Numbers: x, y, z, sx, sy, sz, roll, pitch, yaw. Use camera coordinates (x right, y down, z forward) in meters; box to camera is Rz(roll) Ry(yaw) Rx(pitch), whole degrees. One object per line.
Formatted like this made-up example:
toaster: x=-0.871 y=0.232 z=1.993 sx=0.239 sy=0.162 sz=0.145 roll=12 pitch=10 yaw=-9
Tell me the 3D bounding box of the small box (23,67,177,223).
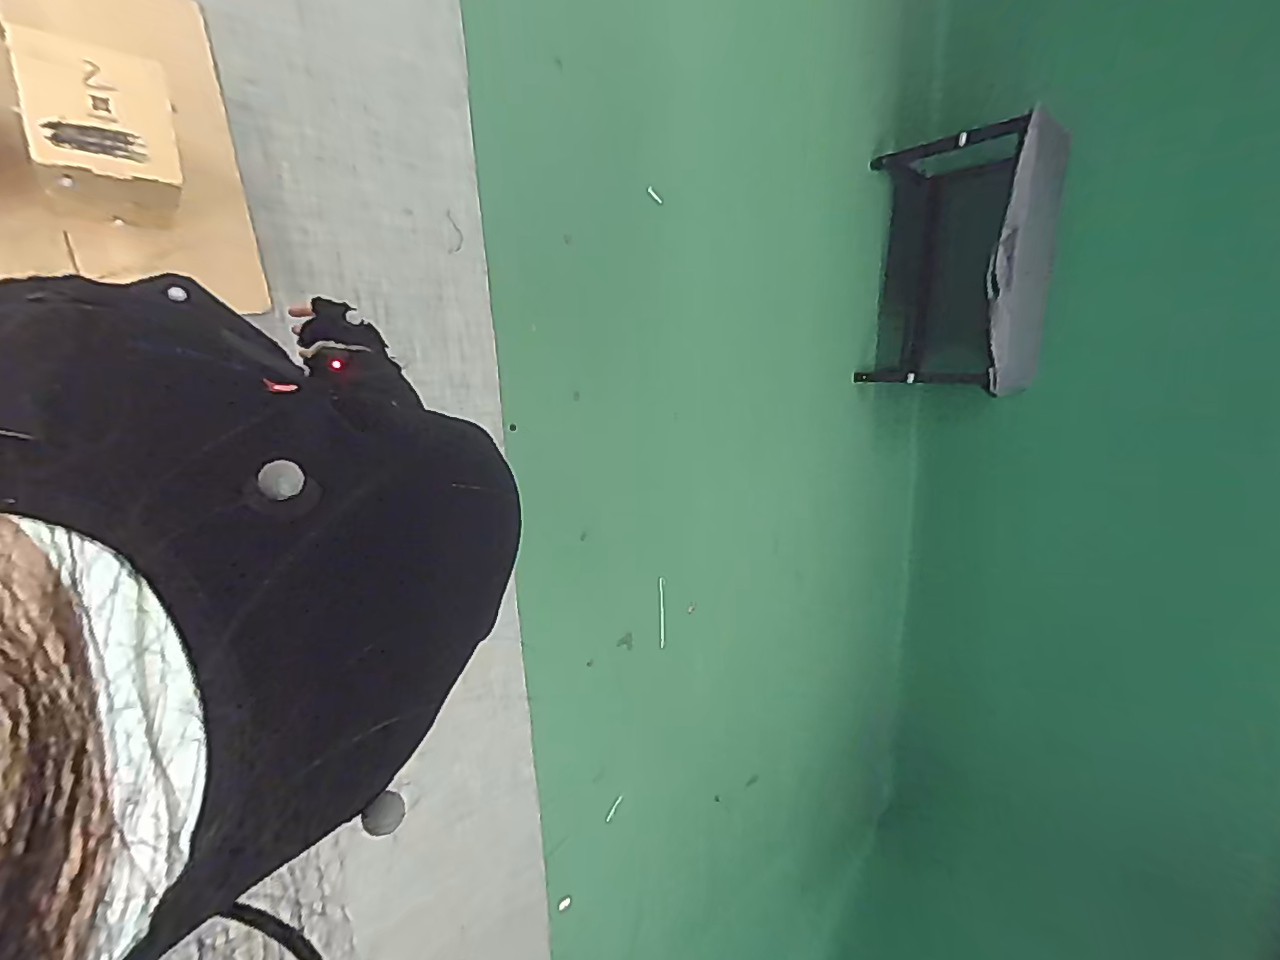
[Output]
small box: x=-0.949 y=-0.578 z=0.962 sx=0.168 sy=0.176 sz=0.179 roll=-11 pitch=106 yaw=-40
